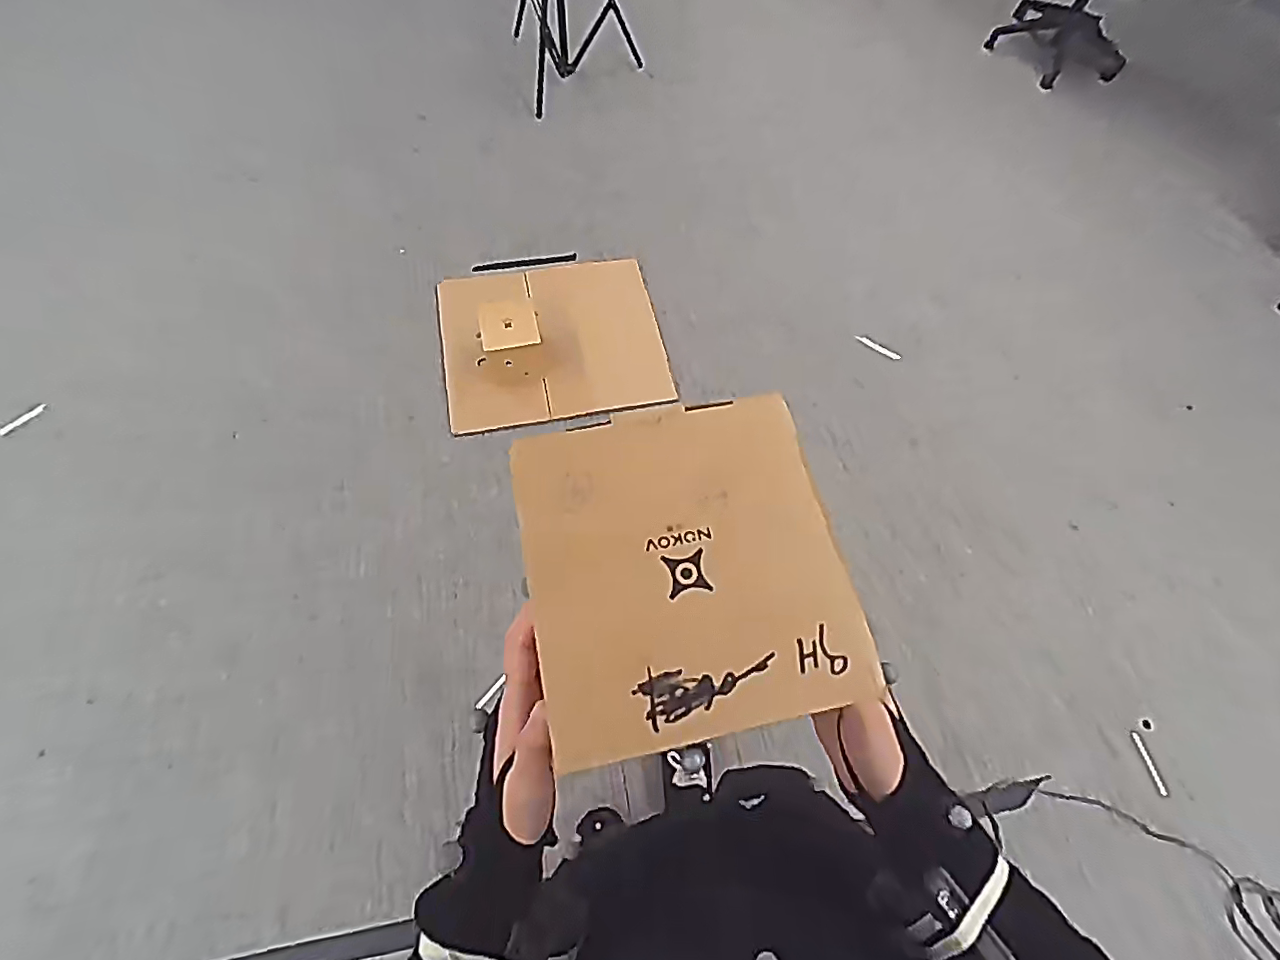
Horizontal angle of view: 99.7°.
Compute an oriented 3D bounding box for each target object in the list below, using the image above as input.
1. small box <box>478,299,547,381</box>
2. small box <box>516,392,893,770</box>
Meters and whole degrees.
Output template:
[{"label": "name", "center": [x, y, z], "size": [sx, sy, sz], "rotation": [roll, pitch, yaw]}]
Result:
[{"label": "small box", "center": [-0.383, -0.417, 1.643], "size": [0.168, 0.176, 0.179], "rotation": [-12, 67, -9]}, {"label": "small box", "center": [0.024, 0.070, 0.355], "size": [0.168, 0.176, 0.179], "rotation": [-11, 68, -5]}]
